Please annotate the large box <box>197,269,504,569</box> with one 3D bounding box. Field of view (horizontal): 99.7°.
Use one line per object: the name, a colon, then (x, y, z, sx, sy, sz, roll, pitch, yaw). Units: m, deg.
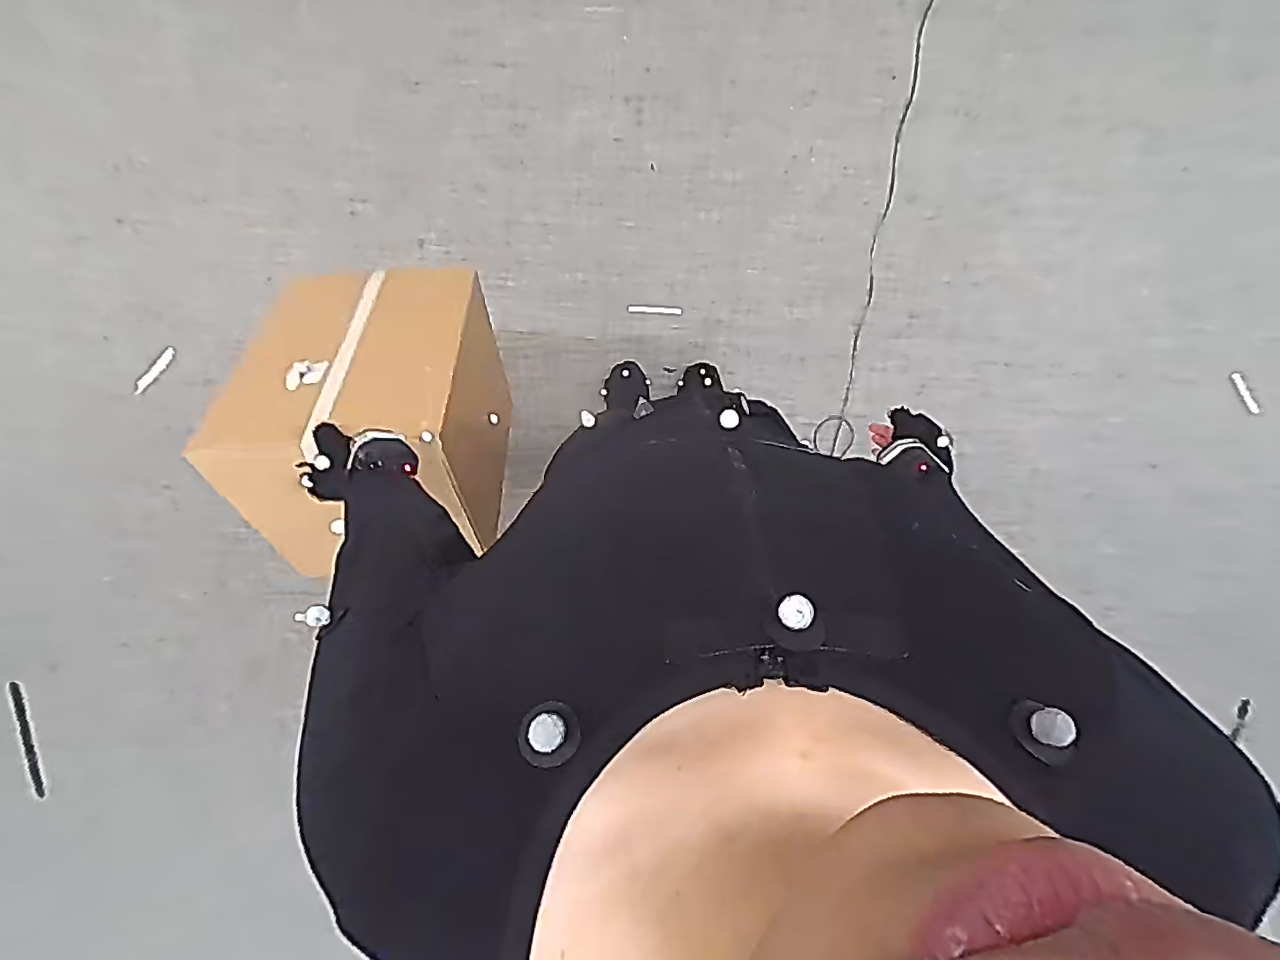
large box: (-0.424, -0.105, 0.922, 0.320, 0.408, 0.320, -5, 143, -1)
